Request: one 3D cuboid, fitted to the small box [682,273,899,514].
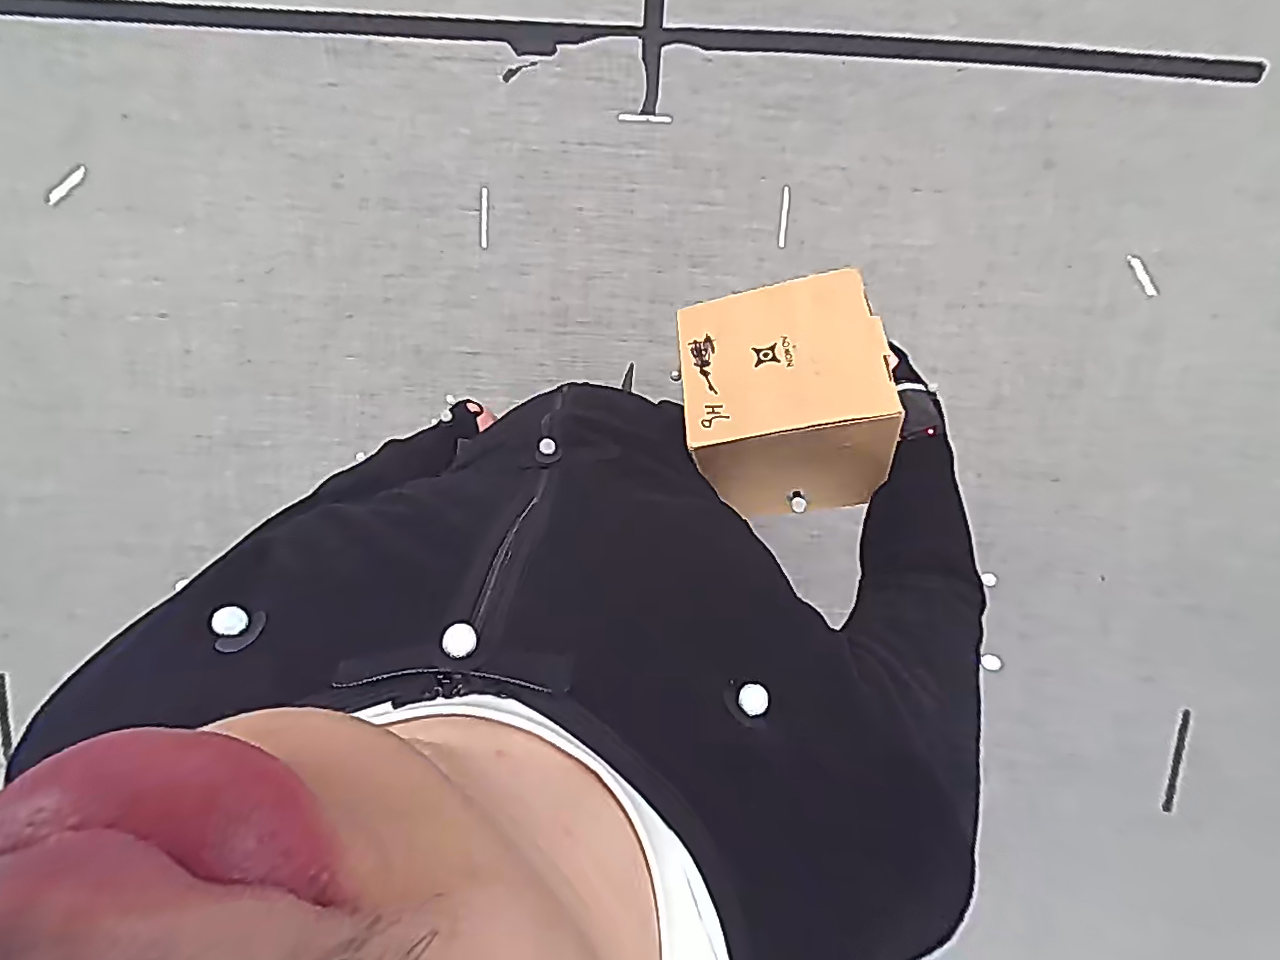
[{"bbox_3d":[0.148,-0.078,0.565,0.179,0.176,0.168,-9,60,13],"label":"small box"}]
